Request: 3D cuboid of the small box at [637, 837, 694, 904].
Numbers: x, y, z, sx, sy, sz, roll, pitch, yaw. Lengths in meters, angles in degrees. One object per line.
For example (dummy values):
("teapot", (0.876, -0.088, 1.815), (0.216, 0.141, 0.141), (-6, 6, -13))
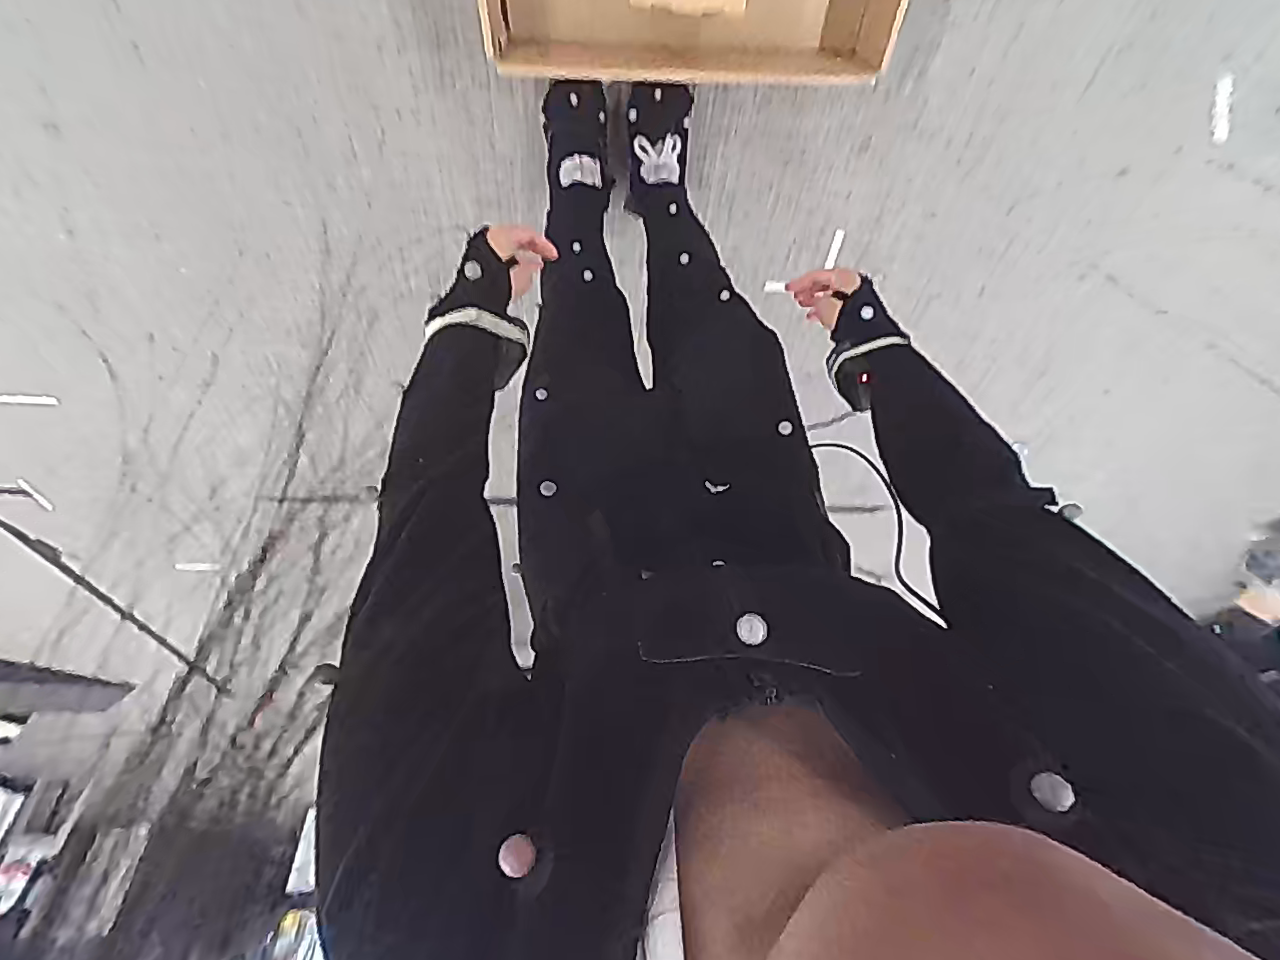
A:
("small box", (0.082, 1.359, 1.882), (0.179, 0.176, 0.168), (-2, 141, -5))
